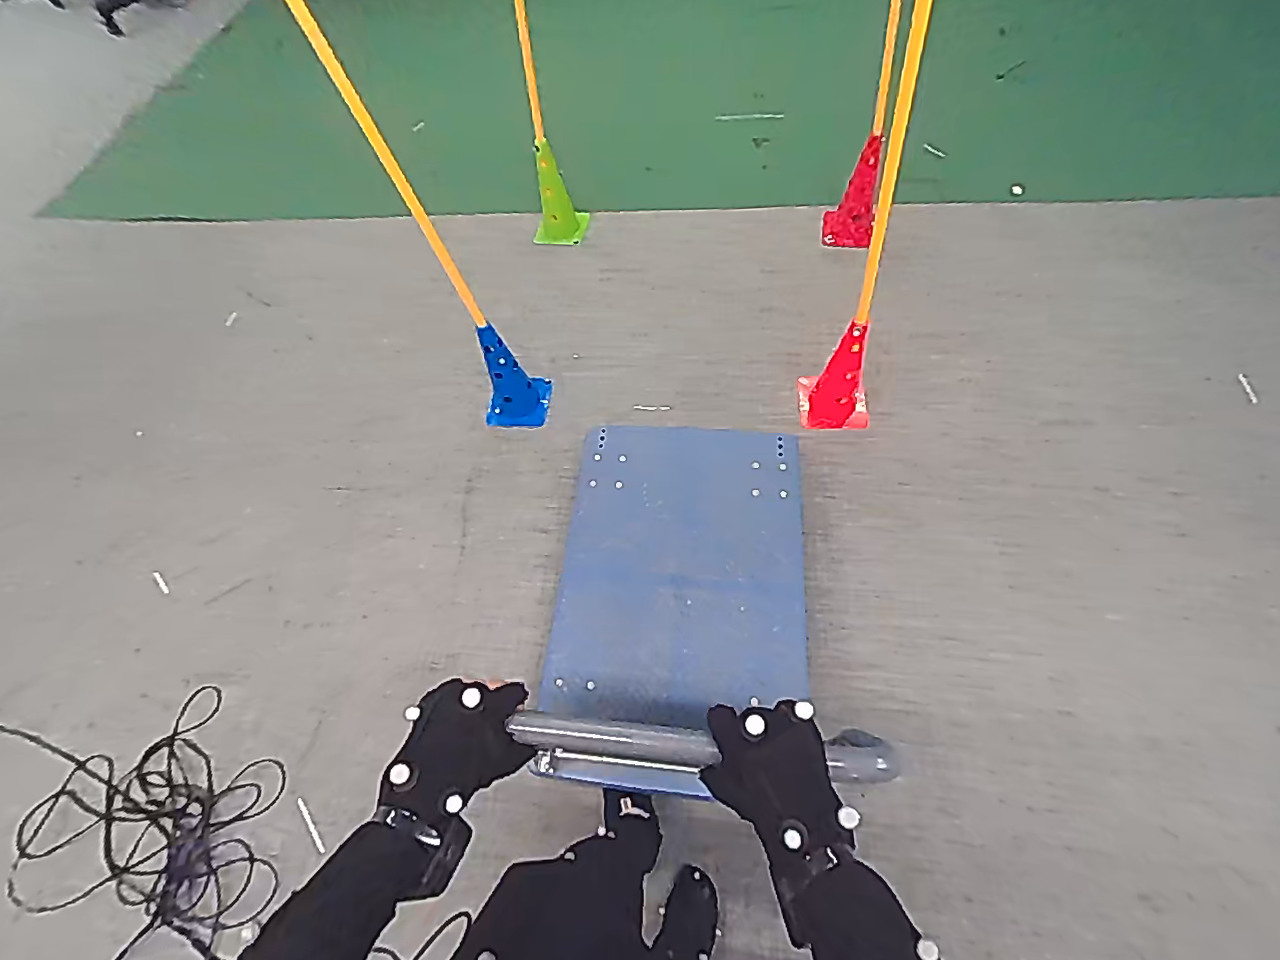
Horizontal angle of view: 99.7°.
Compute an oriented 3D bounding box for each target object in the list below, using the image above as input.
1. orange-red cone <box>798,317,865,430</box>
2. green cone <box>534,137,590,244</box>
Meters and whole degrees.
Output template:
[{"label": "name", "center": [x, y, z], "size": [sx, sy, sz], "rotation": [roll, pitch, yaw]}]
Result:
[{"label": "orange-red cone", "center": [0.580, -0.323, 1.551], "size": [0.199, 0.360, 0.198], "rotation": [1, 61, 8]}, {"label": "green cone", "center": [-0.333, -1.121, 2.070], "size": [0.202, 0.368, 0.200], "rotation": [6, 62, 10]}]
